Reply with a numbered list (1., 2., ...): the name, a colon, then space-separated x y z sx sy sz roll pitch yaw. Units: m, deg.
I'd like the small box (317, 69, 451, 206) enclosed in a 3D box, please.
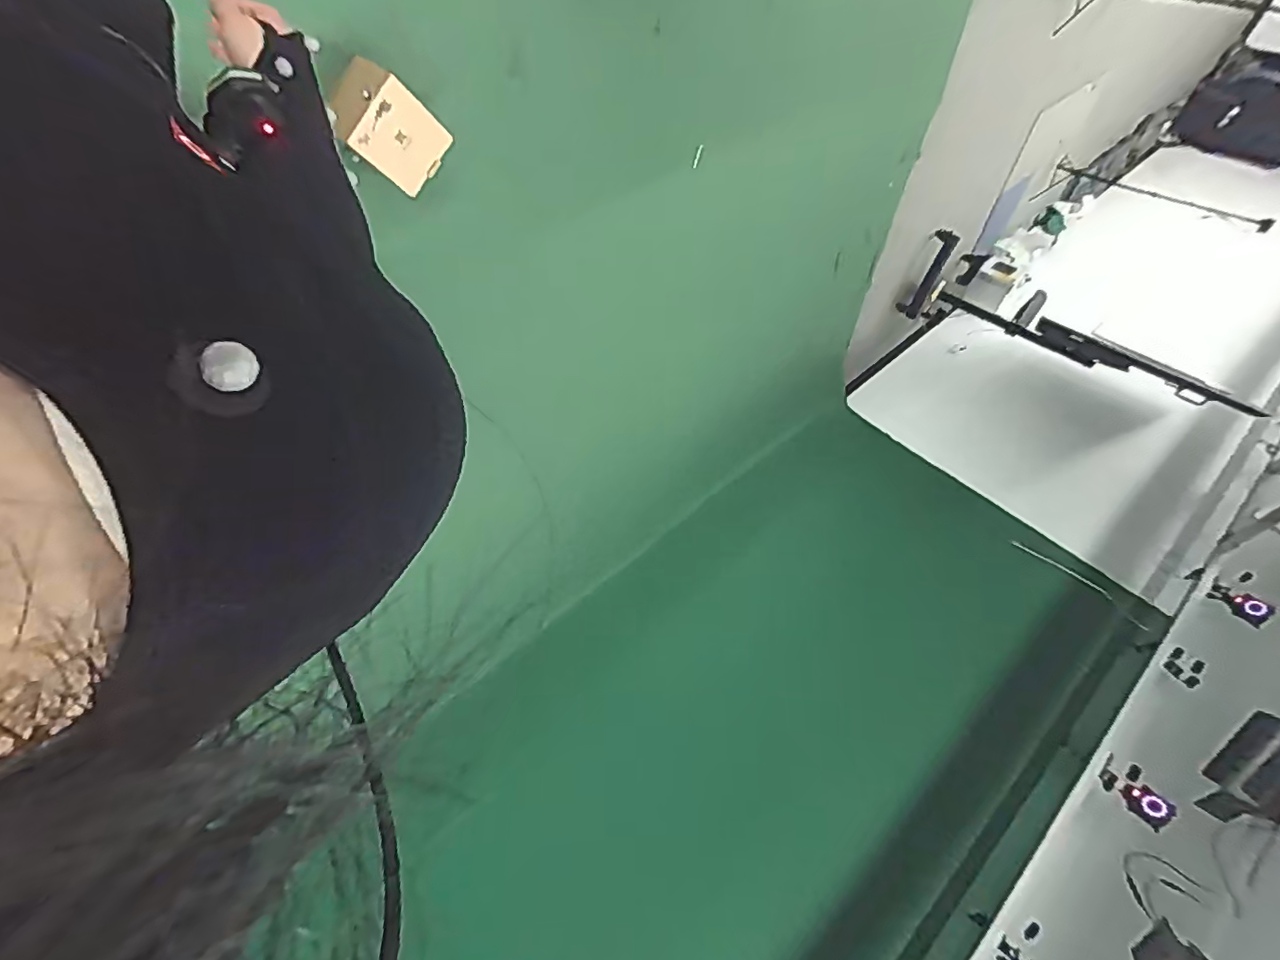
1. small box: -0.566 -0.759 1.200 0.168 0.176 0.179 -52 152 6
